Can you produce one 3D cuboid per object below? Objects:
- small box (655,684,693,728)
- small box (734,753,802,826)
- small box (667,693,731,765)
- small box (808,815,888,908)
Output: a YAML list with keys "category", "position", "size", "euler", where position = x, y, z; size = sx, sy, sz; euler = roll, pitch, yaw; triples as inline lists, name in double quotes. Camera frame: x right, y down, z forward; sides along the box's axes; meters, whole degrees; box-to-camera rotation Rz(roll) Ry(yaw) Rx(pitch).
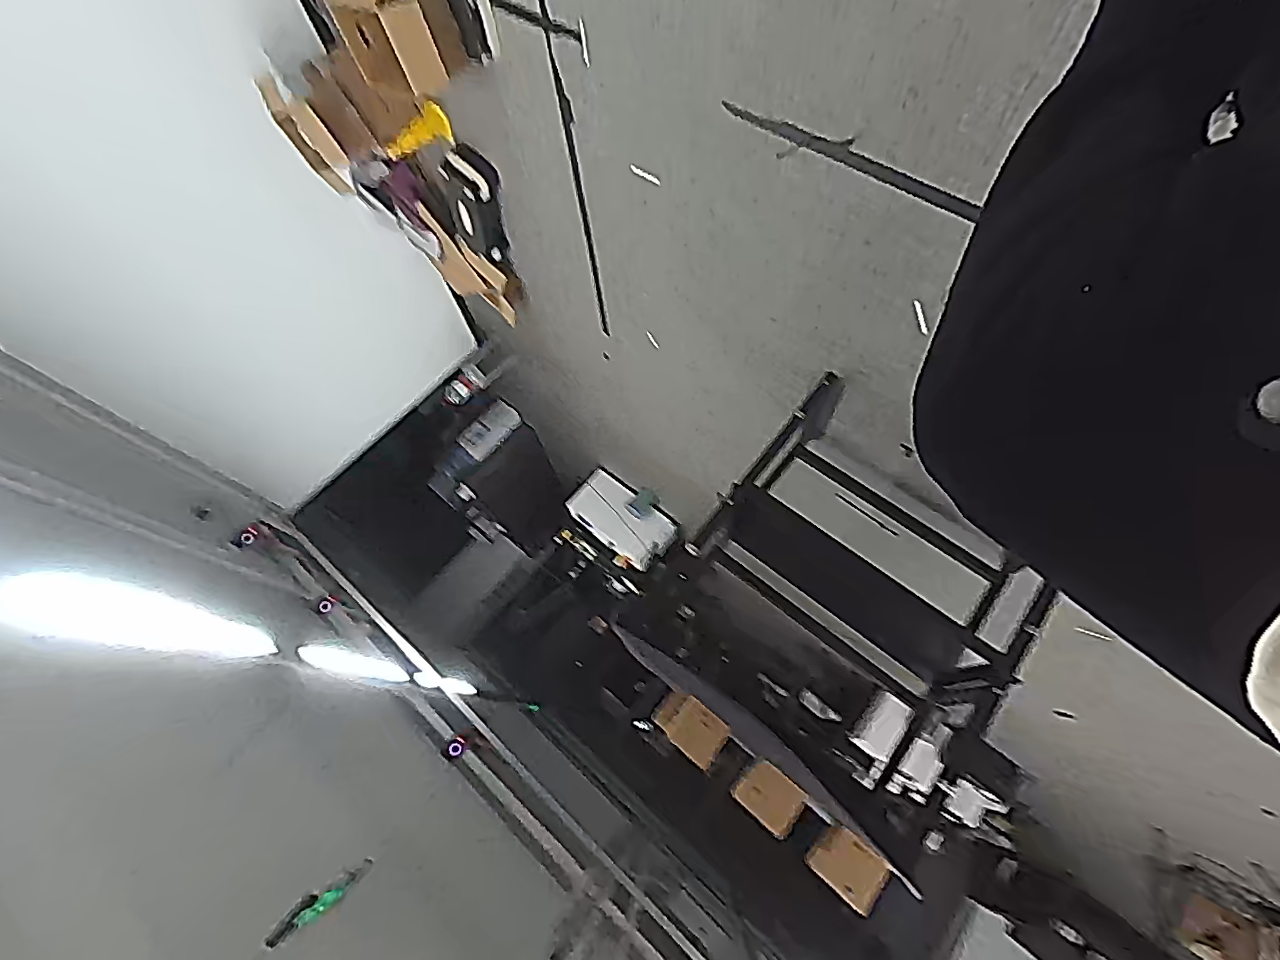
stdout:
- category: "small box"
  position: [0.177, 0.948, 2.190]
  size: [0.168, 0.176, 0.179]
  euler: [37, 163, 20]
- category: "small box"
  position: [0.486, 1.174, 2.070]
  size: [0.179, 0.176, 0.168]
  euler: [36, 163, 17]
- category: "small box"
  position: [0.214, 0.899, 1.971]
  size: [0.168, 0.176, 0.179]
  euler: [37, 164, 14]
- category: "small box"
  position: [0.680, 1.238, 1.771]
  size: [0.168, 0.176, 0.179]
  euler: [36, 164, 20]
